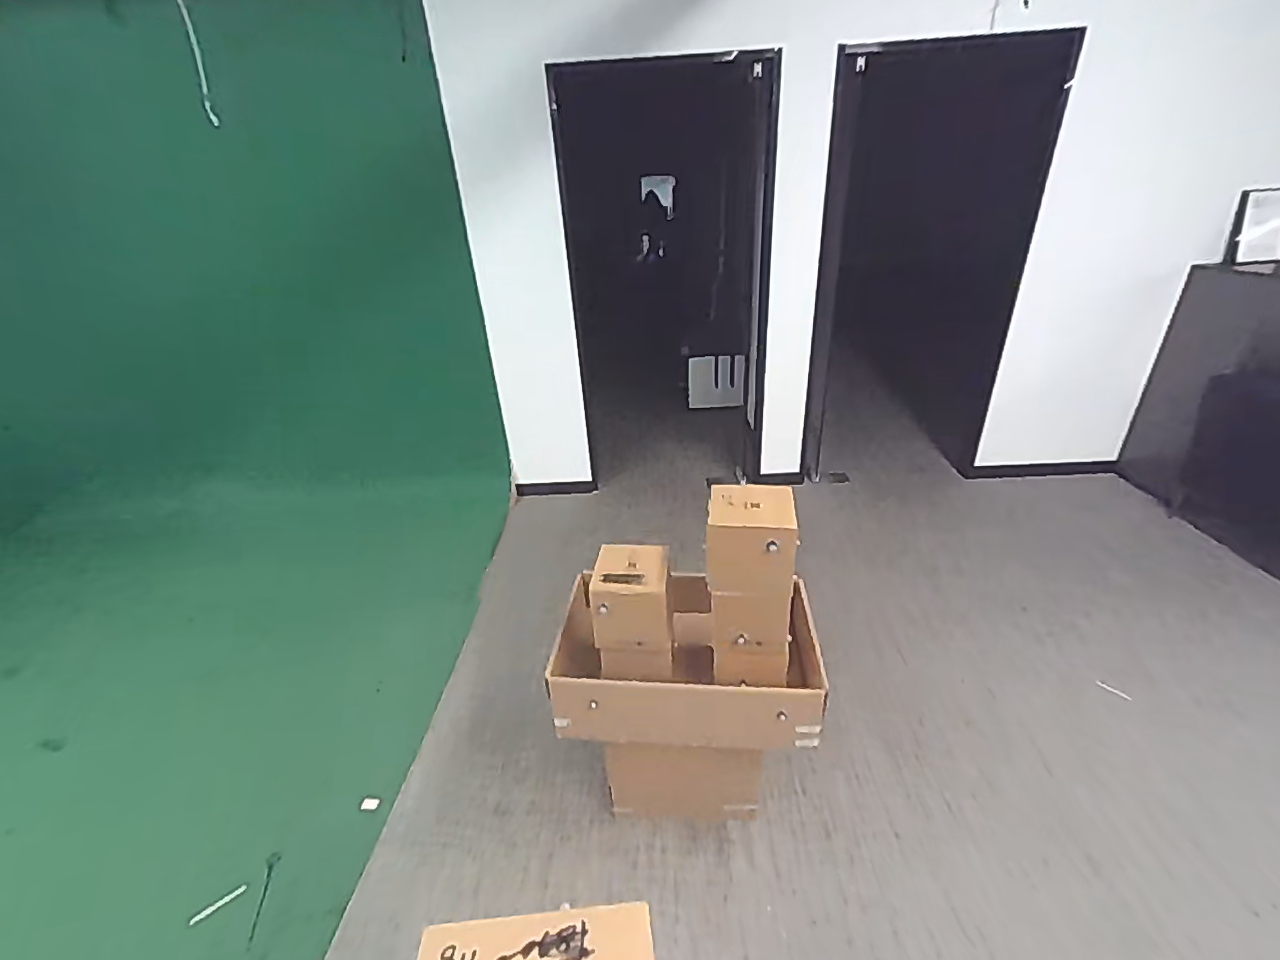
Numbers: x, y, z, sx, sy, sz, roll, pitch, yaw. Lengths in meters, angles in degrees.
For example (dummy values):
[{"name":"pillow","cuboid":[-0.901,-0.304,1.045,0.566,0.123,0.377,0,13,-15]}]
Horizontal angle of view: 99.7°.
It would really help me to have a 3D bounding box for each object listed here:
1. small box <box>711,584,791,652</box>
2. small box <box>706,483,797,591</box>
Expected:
[{"name":"small box","cuboid":[0.248,0.262,1.231,0.168,0.176,0.179,0,30,10]},{"name":"small box","cuboid":[0.235,0.120,1.149,0.179,0.176,0.168,0,29,12]}]
